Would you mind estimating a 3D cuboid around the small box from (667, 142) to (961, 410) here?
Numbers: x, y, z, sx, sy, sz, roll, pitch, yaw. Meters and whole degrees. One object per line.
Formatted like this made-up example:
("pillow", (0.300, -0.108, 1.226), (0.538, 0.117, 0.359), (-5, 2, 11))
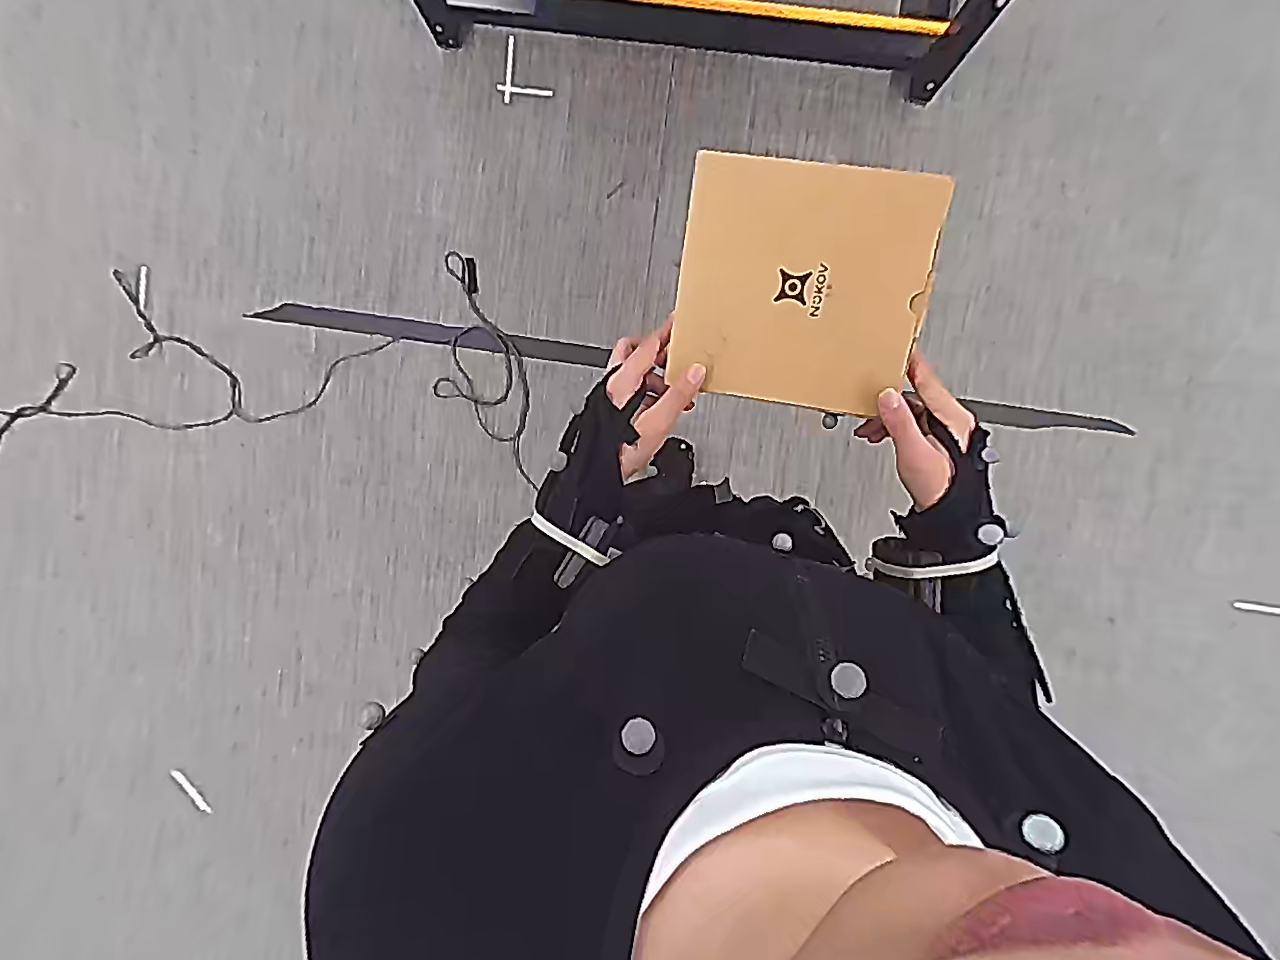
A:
("small box", (0.127, -0.158, 0.459), (0.179, 0.176, 0.168), (9, 104, 5))
